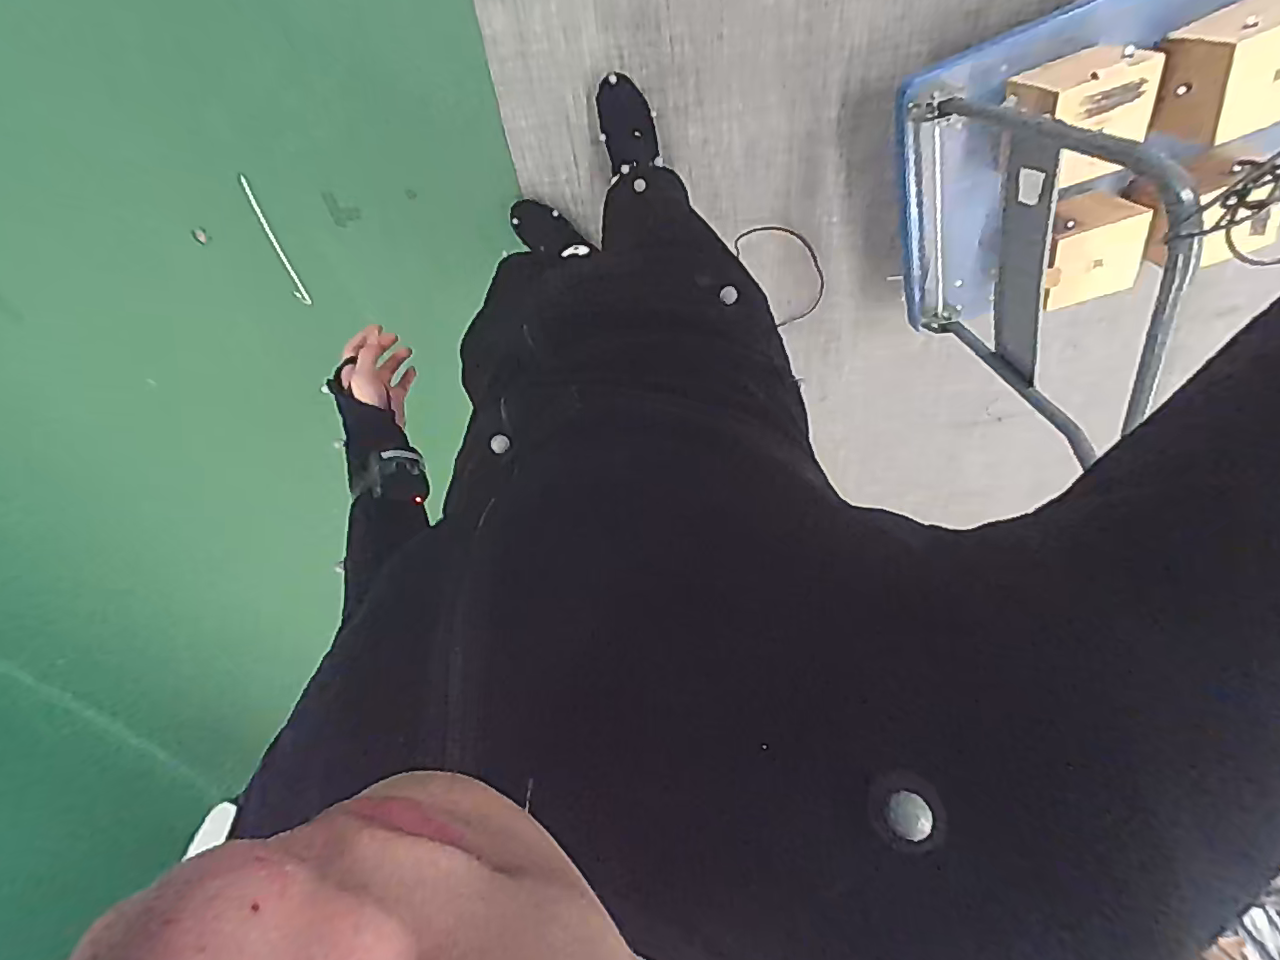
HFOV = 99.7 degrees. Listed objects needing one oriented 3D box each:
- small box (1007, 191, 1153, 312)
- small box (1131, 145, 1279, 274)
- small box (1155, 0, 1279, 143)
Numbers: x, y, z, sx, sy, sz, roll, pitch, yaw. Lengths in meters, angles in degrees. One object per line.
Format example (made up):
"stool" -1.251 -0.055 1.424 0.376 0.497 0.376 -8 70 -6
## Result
"small box" 0.944 -0.502 1.180 0.179 0.176 0.168 -15 130 13
"small box" 1.174 -0.565 1.124 0.179 0.176 0.168 -17 129 15
"small box" 1.082 -0.741 0.963 0.179 0.176 0.168 -19 130 16
